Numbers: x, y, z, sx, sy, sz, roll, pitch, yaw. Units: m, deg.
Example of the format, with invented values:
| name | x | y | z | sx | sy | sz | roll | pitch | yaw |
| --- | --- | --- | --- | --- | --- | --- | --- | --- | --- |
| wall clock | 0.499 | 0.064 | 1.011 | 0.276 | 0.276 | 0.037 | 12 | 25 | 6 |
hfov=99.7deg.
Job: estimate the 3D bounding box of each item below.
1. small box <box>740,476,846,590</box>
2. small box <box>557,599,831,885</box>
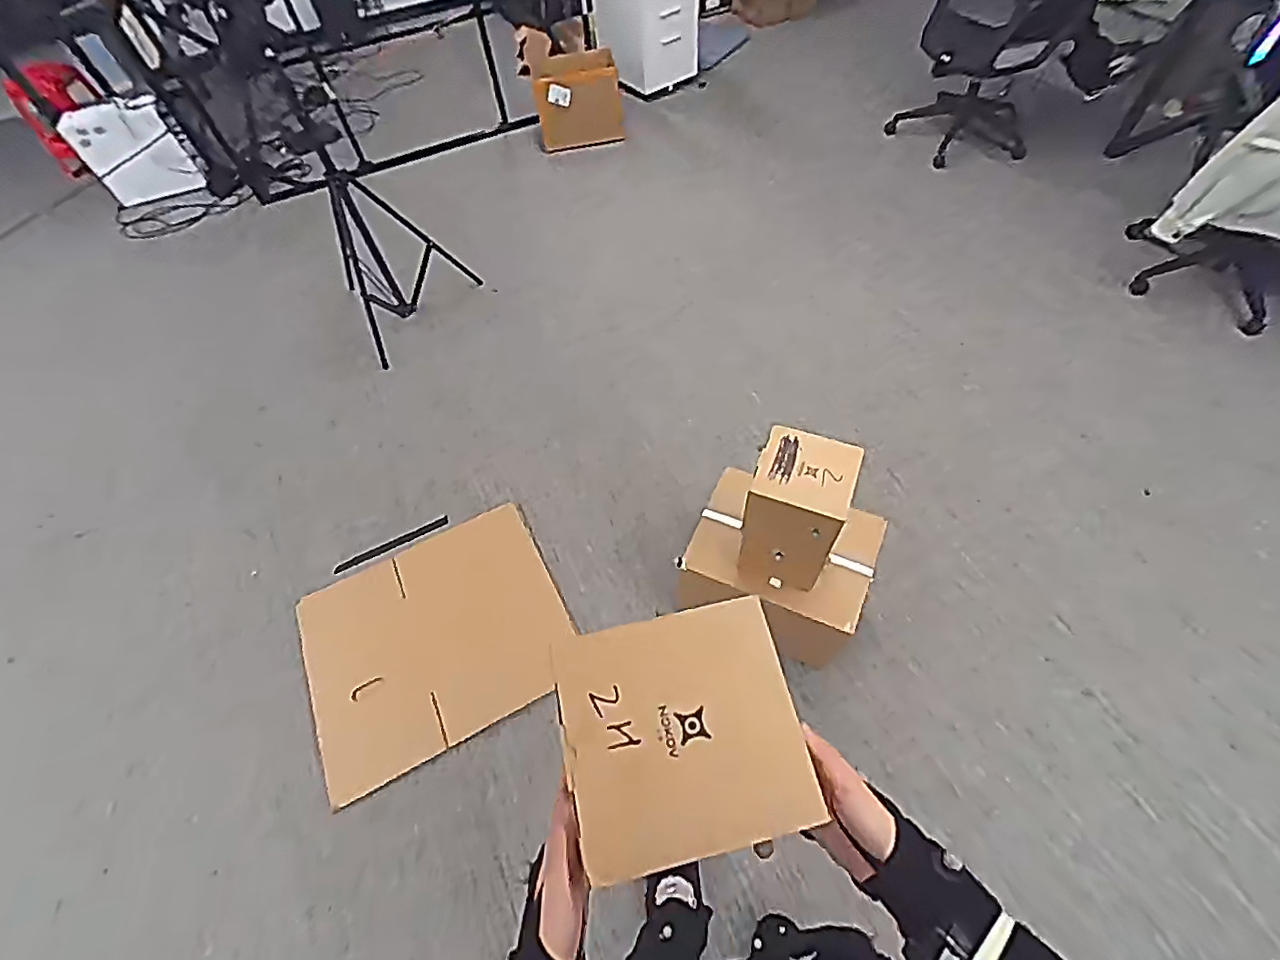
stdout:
| name | x | y | z | sx | sy | sz | roll | pitch | yaw |
| --- | --- | --- | --- | --- | --- | --- | --- | --- | --- |
| small box | 0.328 | 0.122 | 1.188 | 0.179 | 0.176 | 0.168 | 18 | 61 | 15 |
| small box | 0.033 | 0.216 | 0.472 | 0.179 | 0.176 | 0.168 | -11 | 65 | -6 |
